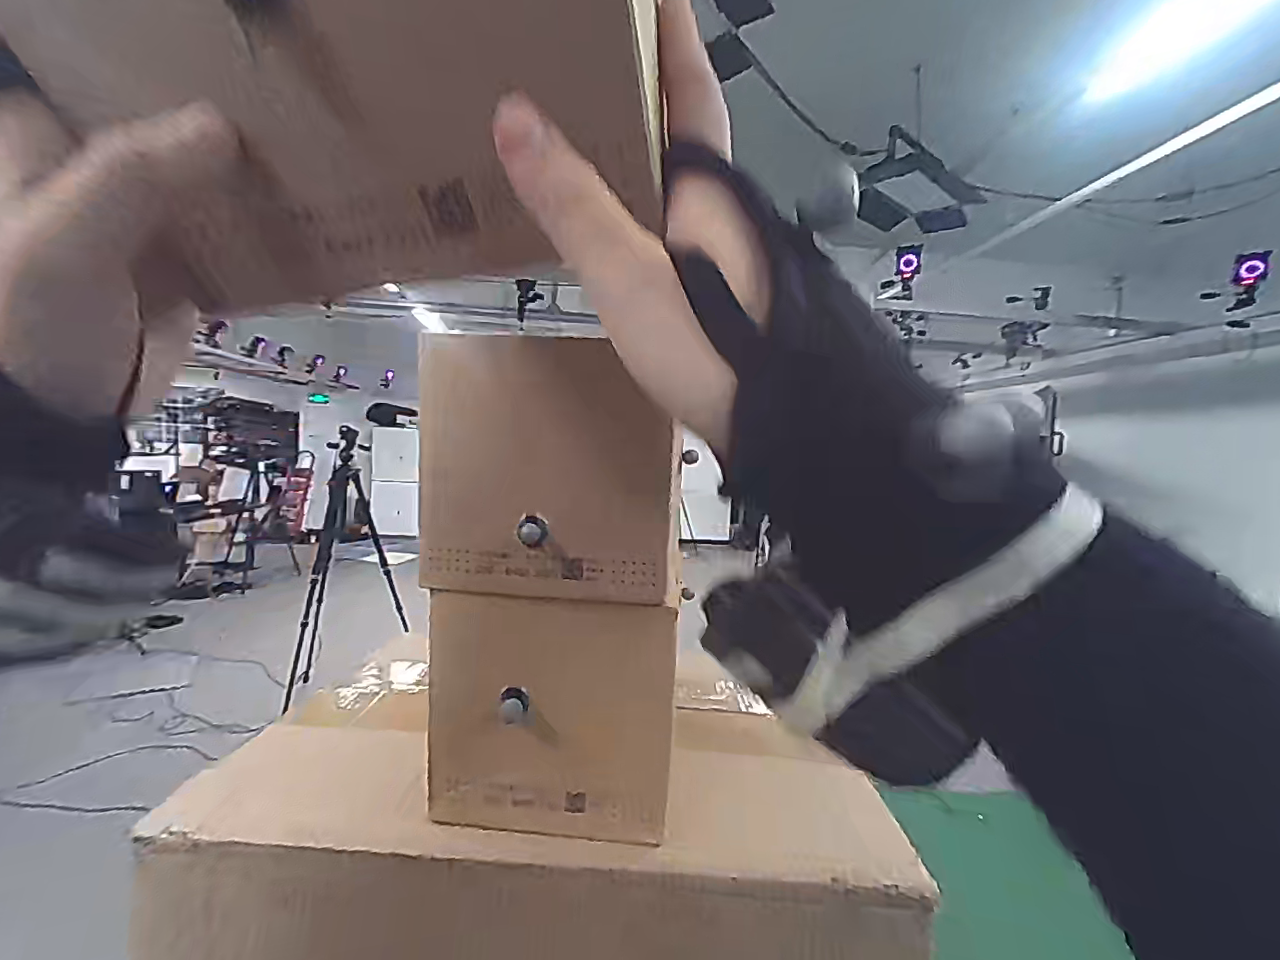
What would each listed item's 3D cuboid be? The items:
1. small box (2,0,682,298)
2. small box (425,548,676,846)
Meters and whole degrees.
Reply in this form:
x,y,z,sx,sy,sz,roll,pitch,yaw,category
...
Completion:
x,y,z,sx,sy,sz,roll,pitch,yaw,category
-0.078,-0.174,0.193,0.168,0.176,0.179,-3,40,11,small box
-0.056,0.158,0.441,0.168,0.176,0.179,3,4,4,small box
